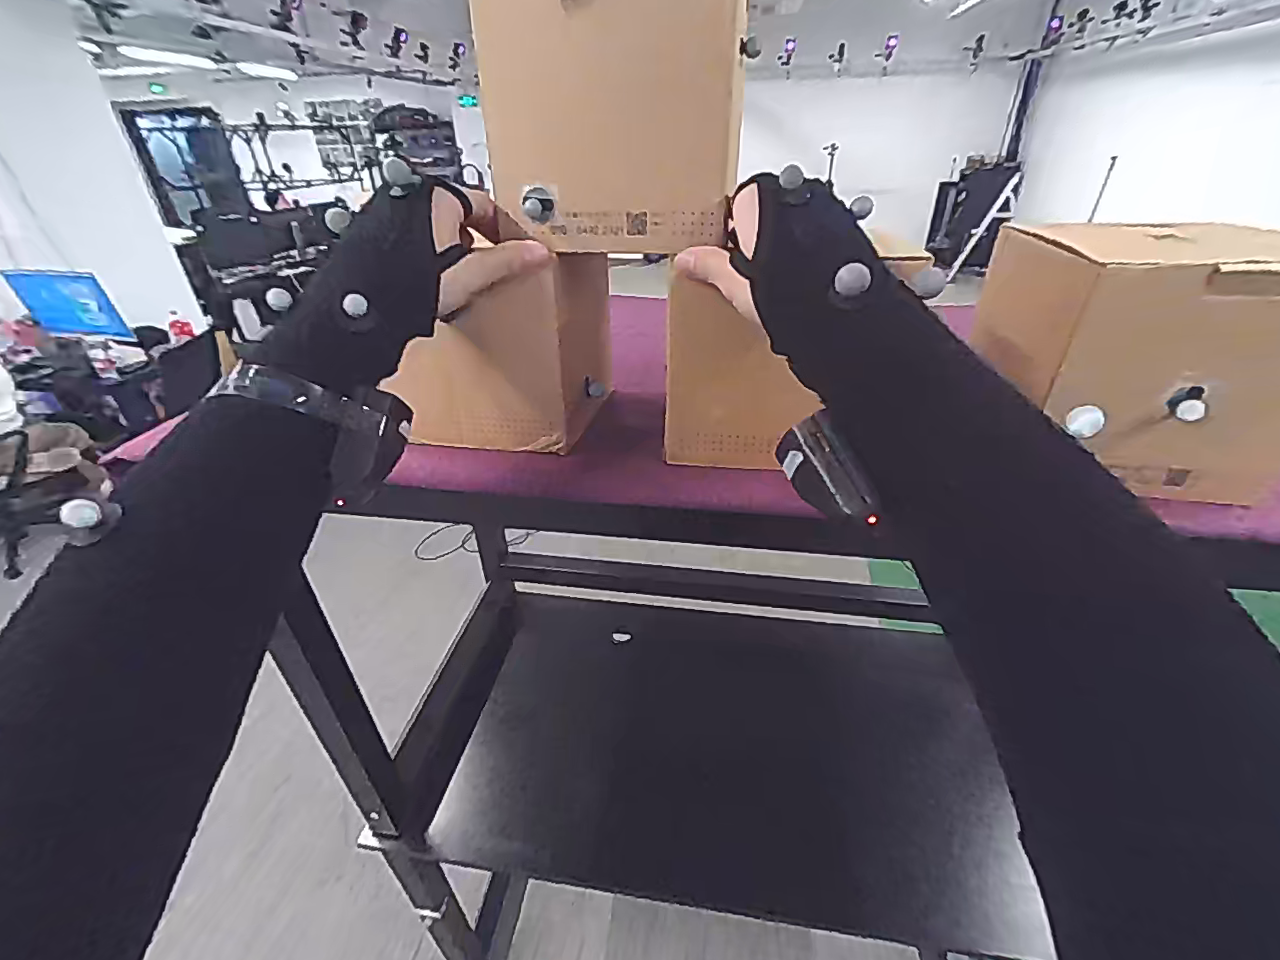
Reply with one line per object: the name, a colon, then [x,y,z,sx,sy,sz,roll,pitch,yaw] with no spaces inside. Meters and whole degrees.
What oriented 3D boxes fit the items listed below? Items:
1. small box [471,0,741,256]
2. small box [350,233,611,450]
small box: [-0.009,-0.278,0.433,0.168,0.176,0.179,5,30,10]
small box: [-0.133,-0.139,0.524,0.179,0.176,0.168,5,31,10]
